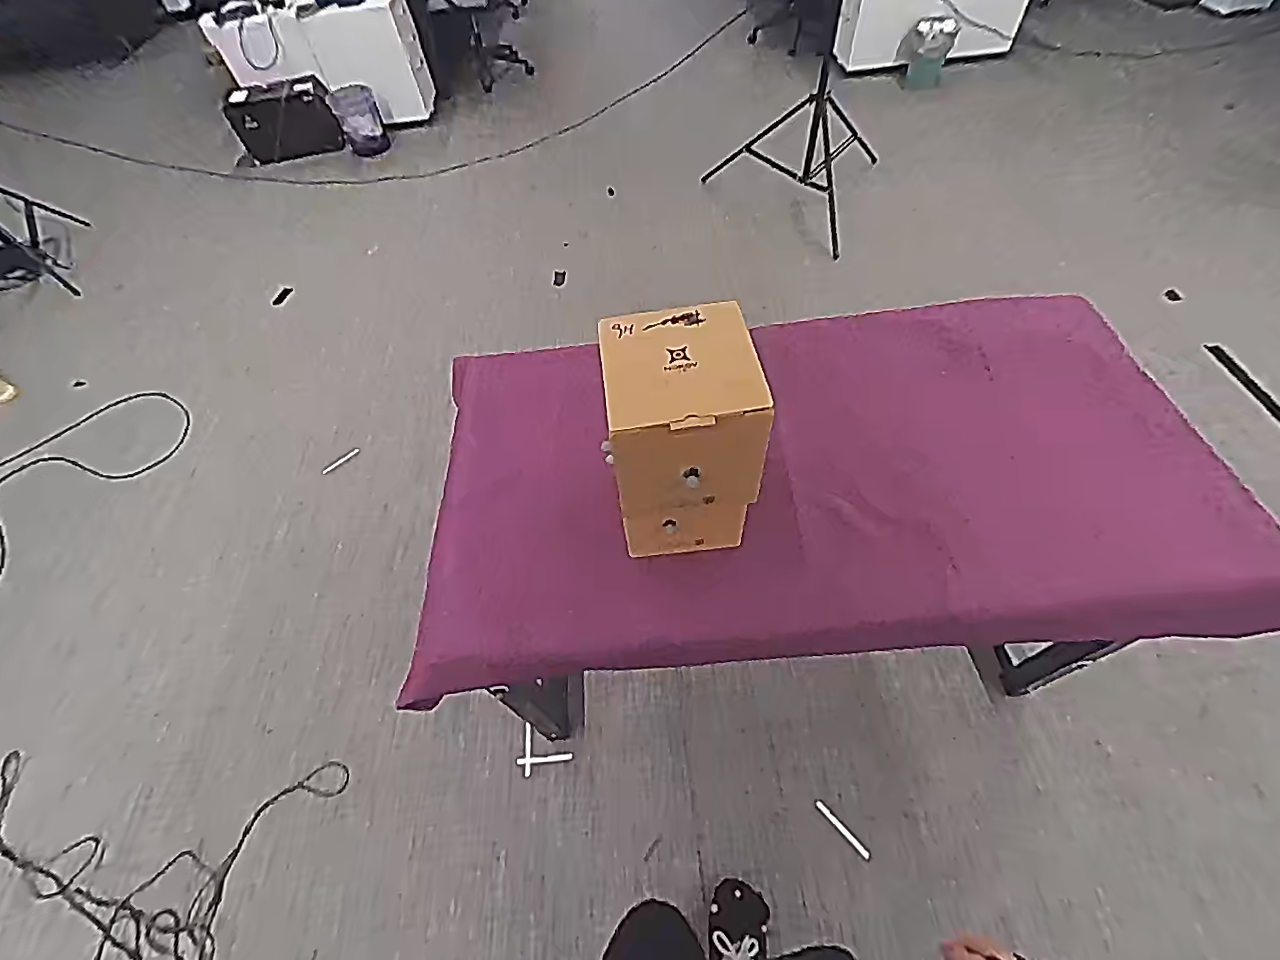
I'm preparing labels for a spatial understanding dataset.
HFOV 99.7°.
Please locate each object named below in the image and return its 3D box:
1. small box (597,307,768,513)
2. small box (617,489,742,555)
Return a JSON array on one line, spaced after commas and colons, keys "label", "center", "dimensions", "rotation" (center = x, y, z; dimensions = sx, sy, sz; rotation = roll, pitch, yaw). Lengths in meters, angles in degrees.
[{"label": "small box", "center": [0.045, -0.073, 0.642], "dimensions": [0.168, 0.176, 0.179], "rotation": [-8, 55, 0]}, {"label": "small box", "center": [0.054, -0.001, 0.791], "dimensions": [0.168, 0.176, 0.179], "rotation": [-6, 55, 1]}]
